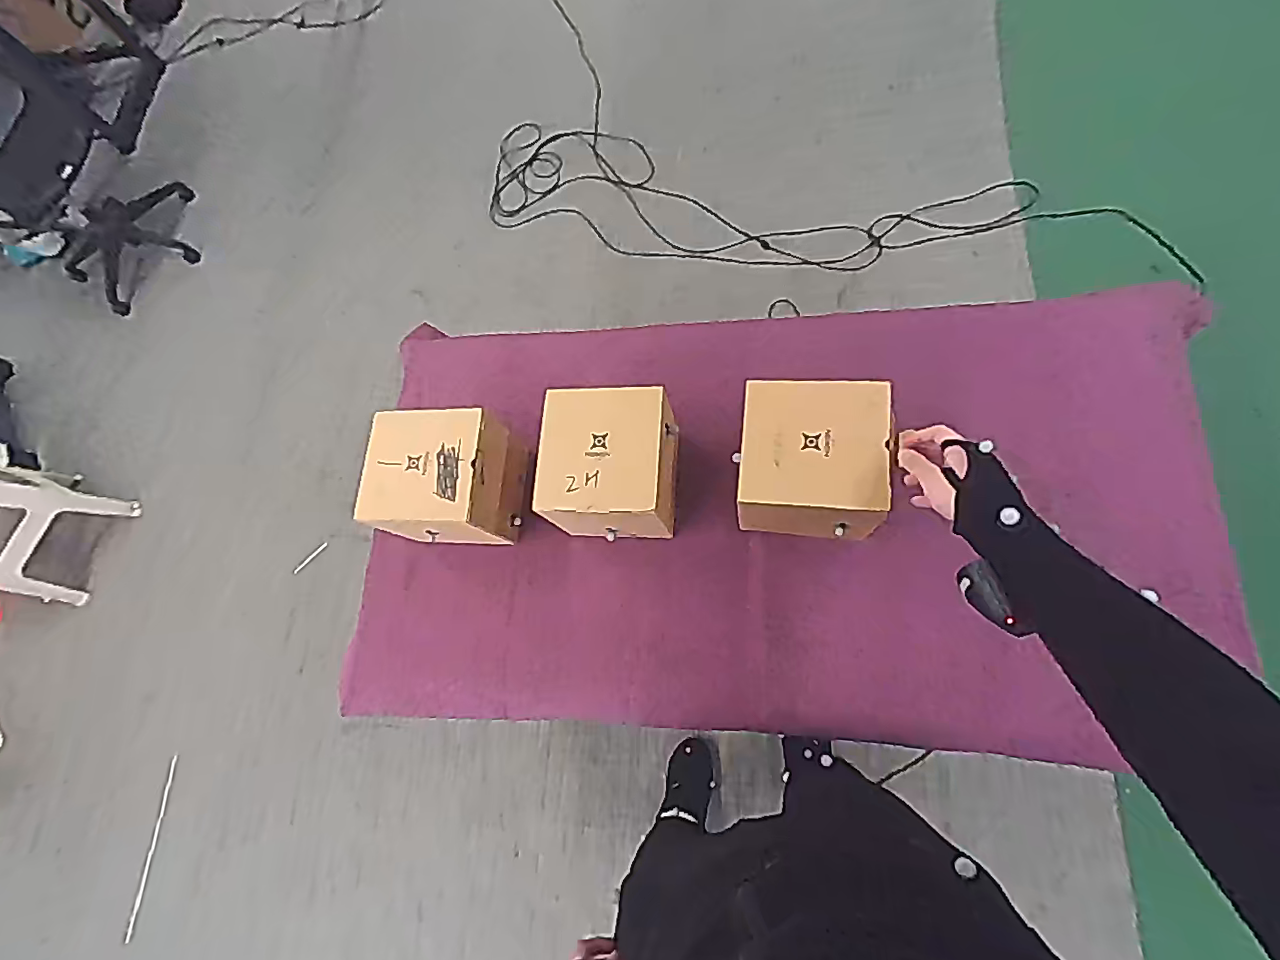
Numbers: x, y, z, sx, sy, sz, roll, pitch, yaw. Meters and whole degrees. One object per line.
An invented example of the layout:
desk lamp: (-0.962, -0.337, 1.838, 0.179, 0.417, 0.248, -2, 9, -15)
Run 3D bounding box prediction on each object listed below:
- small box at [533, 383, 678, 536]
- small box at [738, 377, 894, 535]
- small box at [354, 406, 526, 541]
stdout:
small box: (-0.038, -0.024, 0.779, 0.168, 0.176, 0.179, 1, 74, 12)
small box: (0.228, -0.025, 0.728, 0.179, 0.176, 0.168, 4, 74, 13)
small box: (-0.289, -0.004, 0.822, 0.179, 0.176, 0.168, 0, 74, 12)
